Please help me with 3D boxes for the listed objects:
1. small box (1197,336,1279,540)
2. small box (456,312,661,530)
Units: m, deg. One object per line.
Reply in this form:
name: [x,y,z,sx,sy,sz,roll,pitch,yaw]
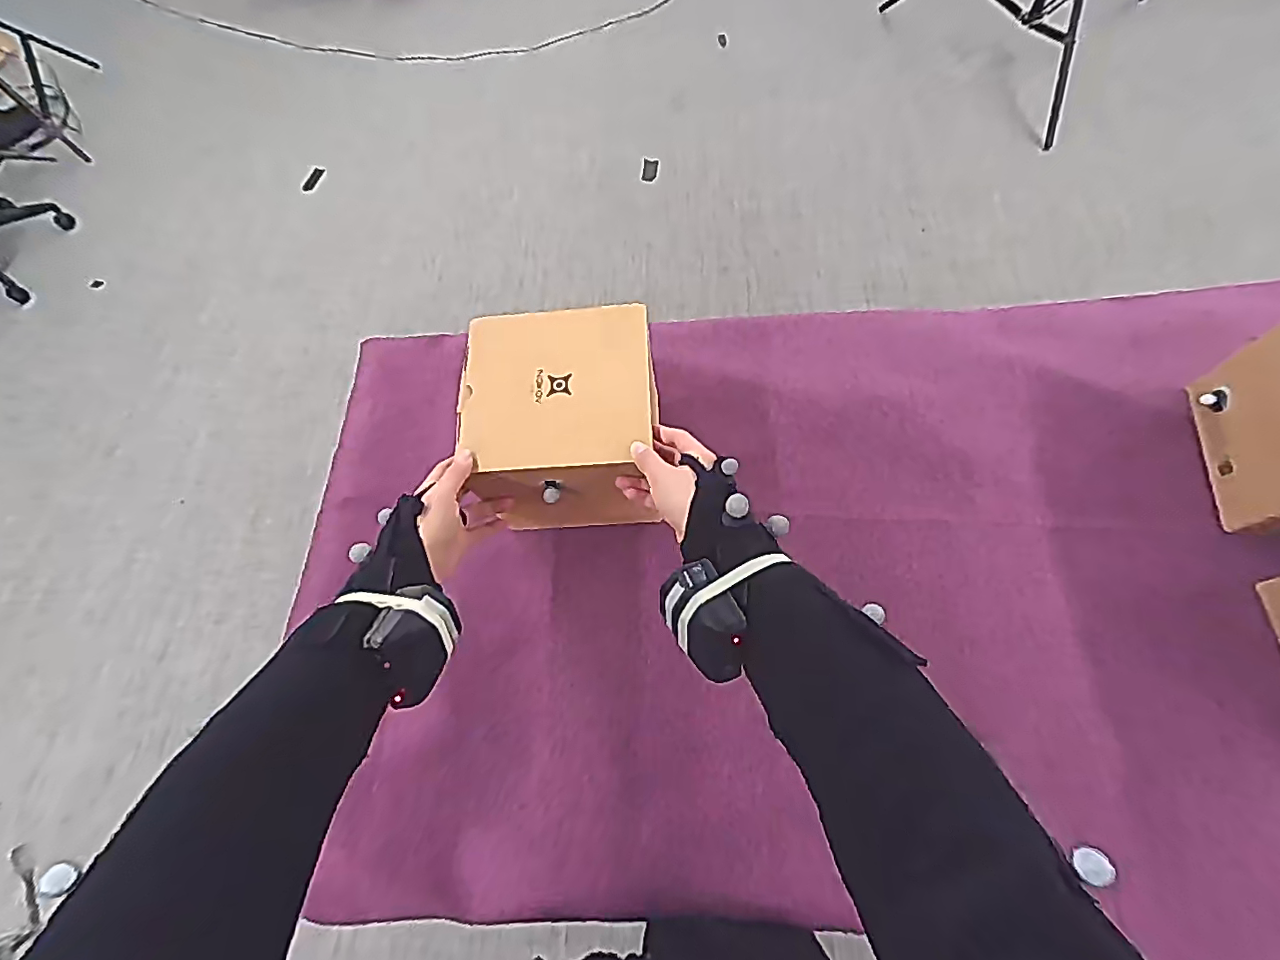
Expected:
small box: [0.655,-0.042,0.475,0.179,0.176,0.168,5,69,8]
small box: [-0.068,-0.051,0.565,0.179,0.176,0.168,-3,67,5]
